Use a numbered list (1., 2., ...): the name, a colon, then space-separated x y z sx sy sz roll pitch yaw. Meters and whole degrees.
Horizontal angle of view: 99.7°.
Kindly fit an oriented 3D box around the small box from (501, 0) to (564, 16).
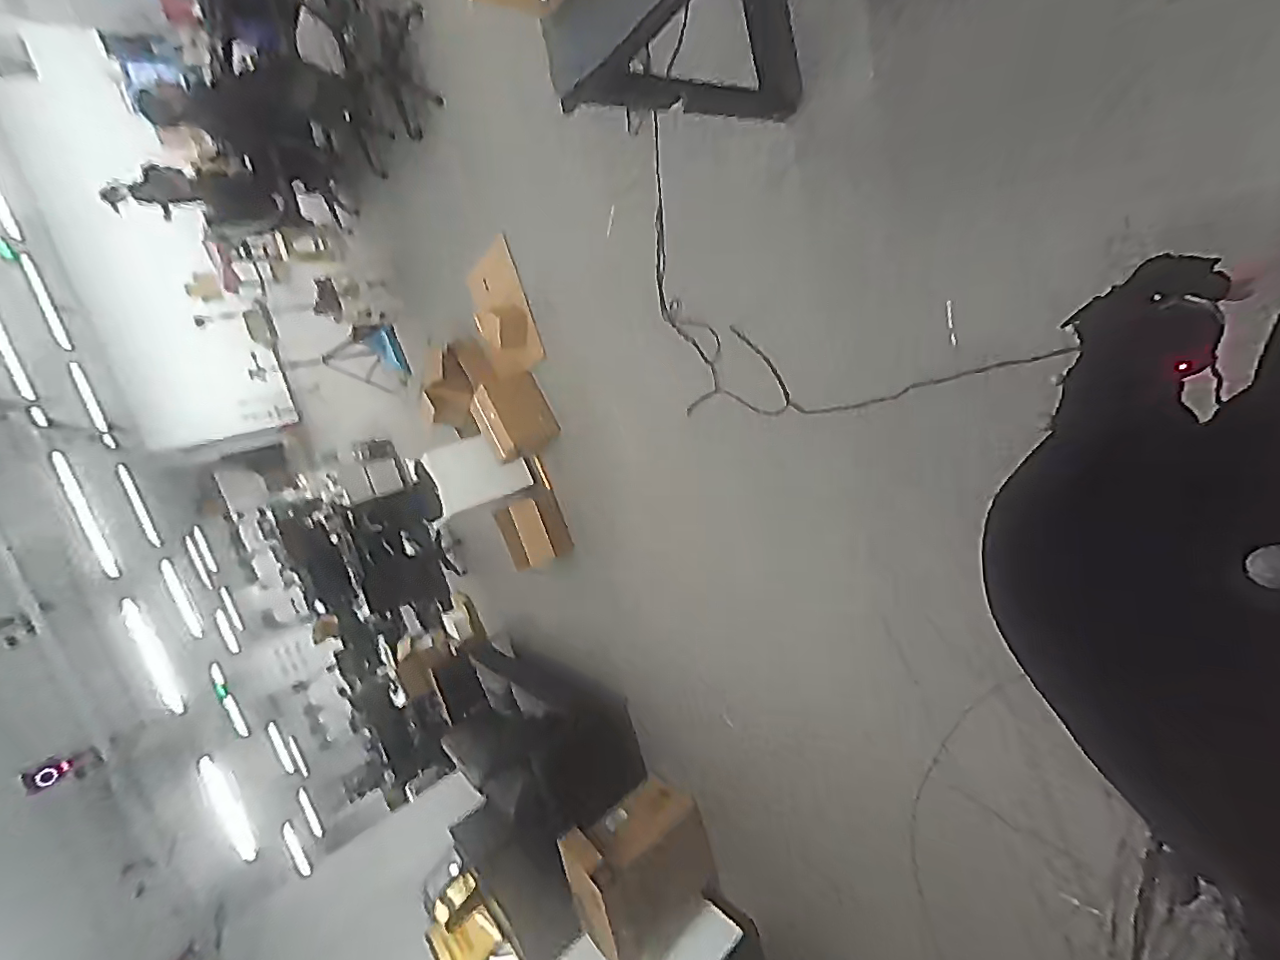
1. small box: -0.211 -0.978 0.954 0.168 0.176 0.179 4 110 52
